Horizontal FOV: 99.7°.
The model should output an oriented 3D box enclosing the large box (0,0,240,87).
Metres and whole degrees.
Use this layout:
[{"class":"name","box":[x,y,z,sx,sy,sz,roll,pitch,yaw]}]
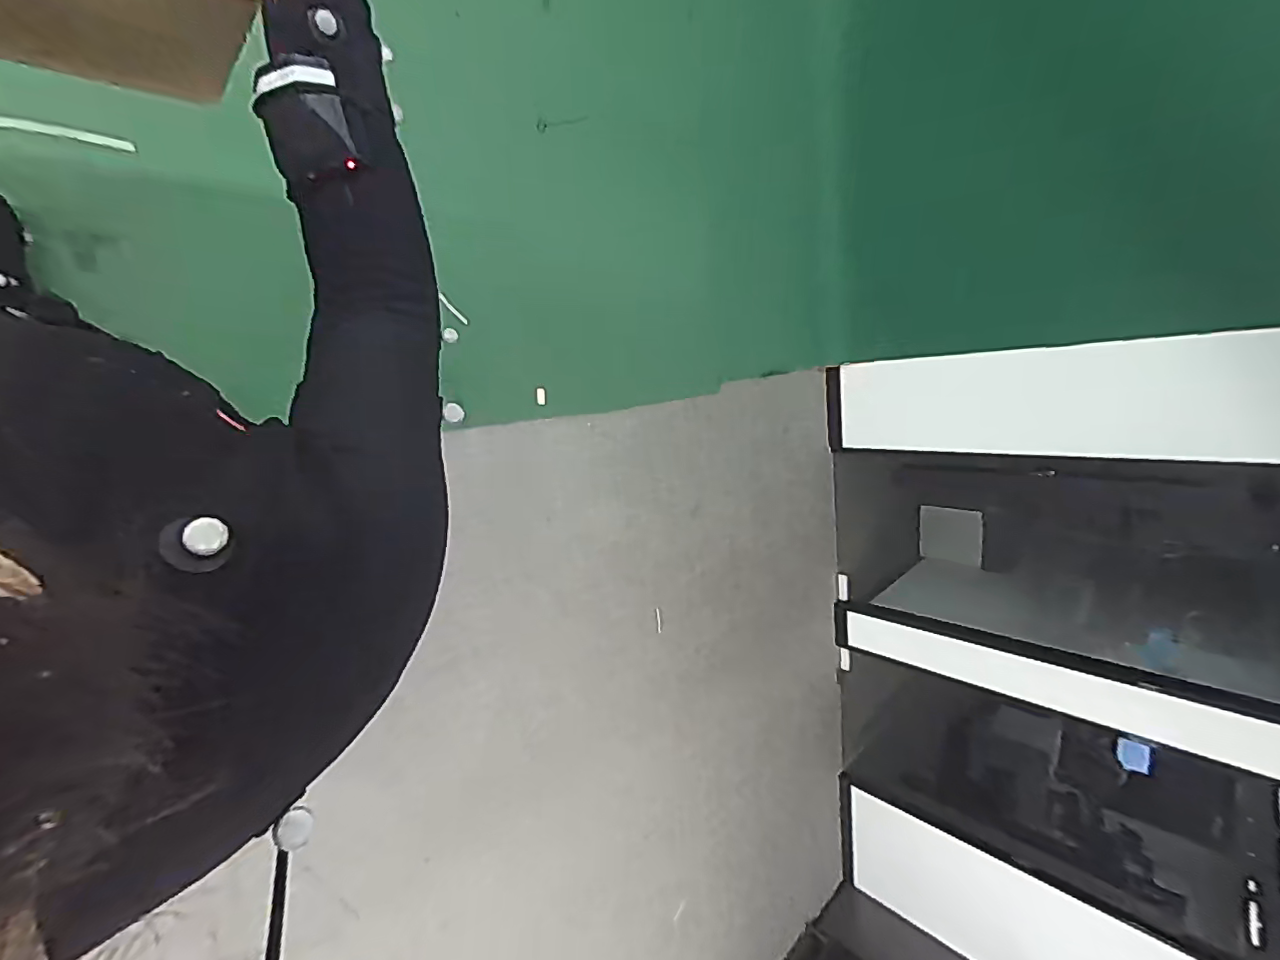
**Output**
[{"class":"large box","box":[-0.500,-0.475,0.296,0.408,0.320,0.320,-11,113,-38]}]
